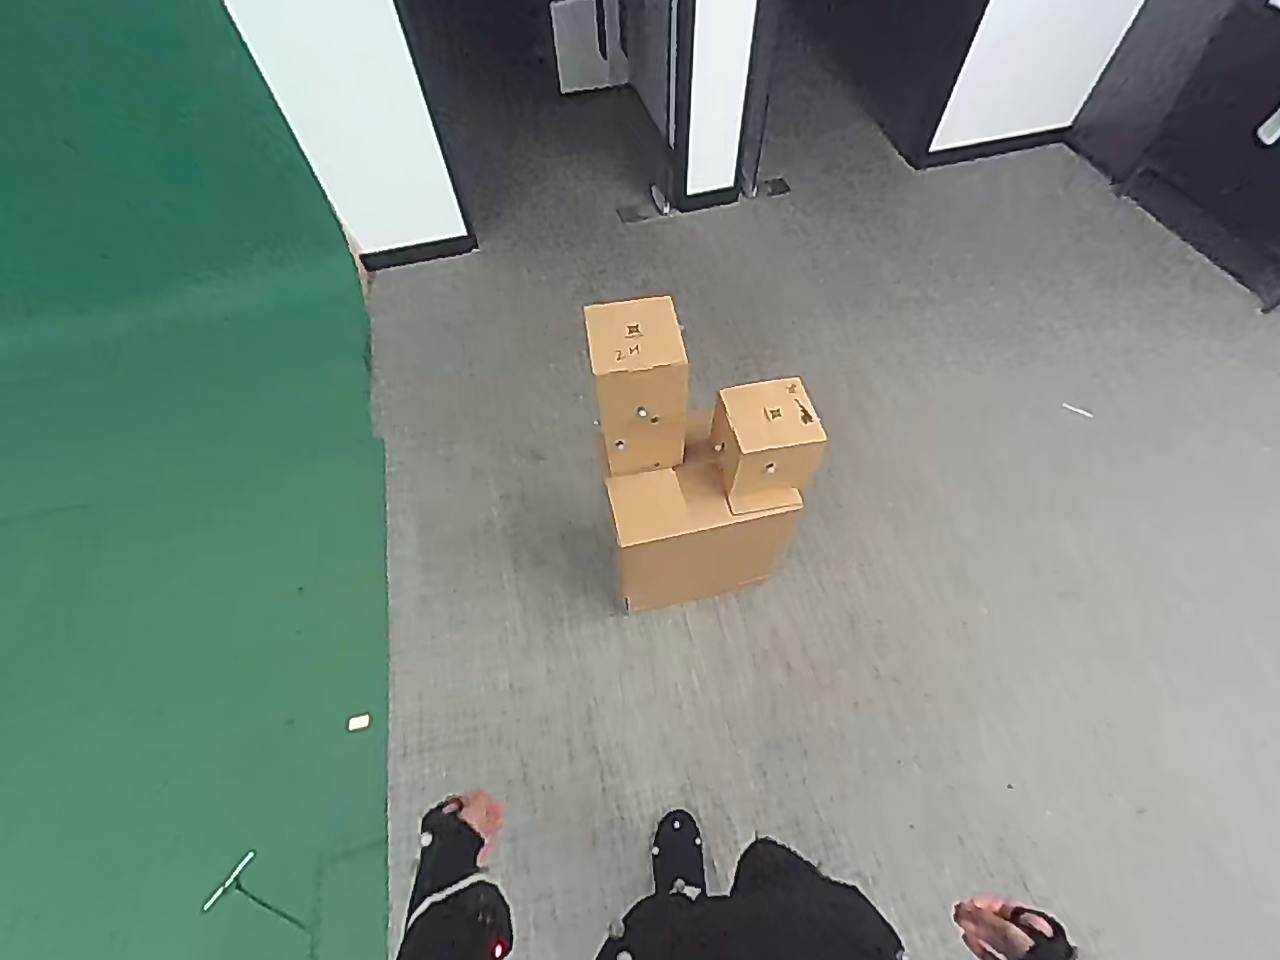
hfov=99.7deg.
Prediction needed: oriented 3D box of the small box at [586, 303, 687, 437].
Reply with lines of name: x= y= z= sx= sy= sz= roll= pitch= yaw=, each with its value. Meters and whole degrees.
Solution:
small box: x=-0.008 y=-0.207 z=1.034 sx=0.168 sy=0.176 sz=0.179 roll=-9 pitch=58 yaw=-2

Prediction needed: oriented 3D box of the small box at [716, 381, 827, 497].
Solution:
small box: x=0.262 y=-0.080 z=1.133 sx=0.179 sy=0.176 sz=0.168 roll=-11 pitch=61 yaw=-4
